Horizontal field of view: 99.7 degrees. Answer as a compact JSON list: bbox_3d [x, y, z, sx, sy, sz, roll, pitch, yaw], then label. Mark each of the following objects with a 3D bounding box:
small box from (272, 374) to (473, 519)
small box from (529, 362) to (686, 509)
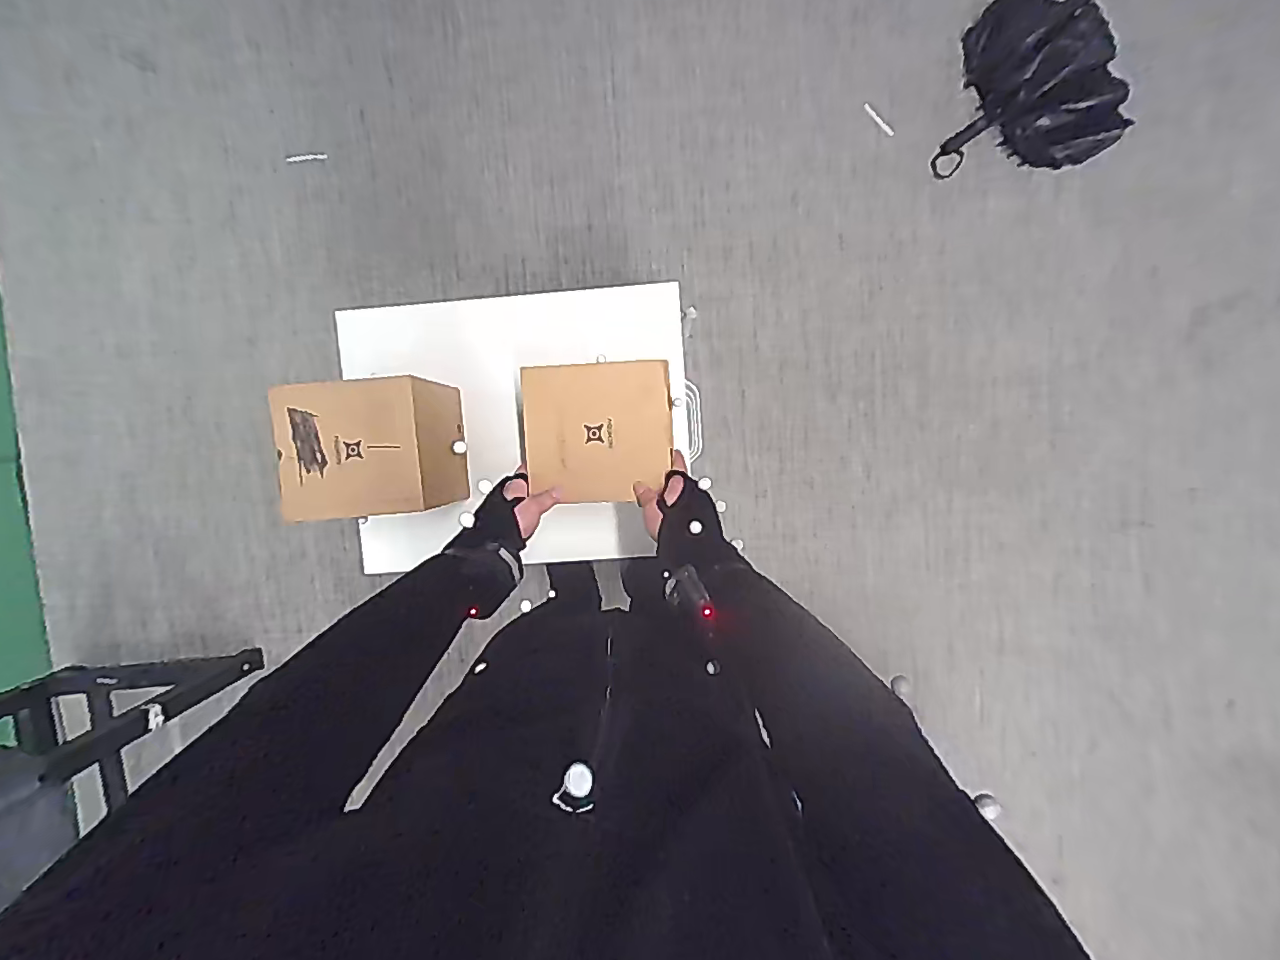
[{"bbox_3d":[-0.336,-0.043,0.709,0.179,0.176,0.168,-4,95,0],"label":"small box"},{"bbox_3d":[-0.034,-0.056,0.701,0.179,0.176,0.168,-3,93,4],"label":"small box"}]
